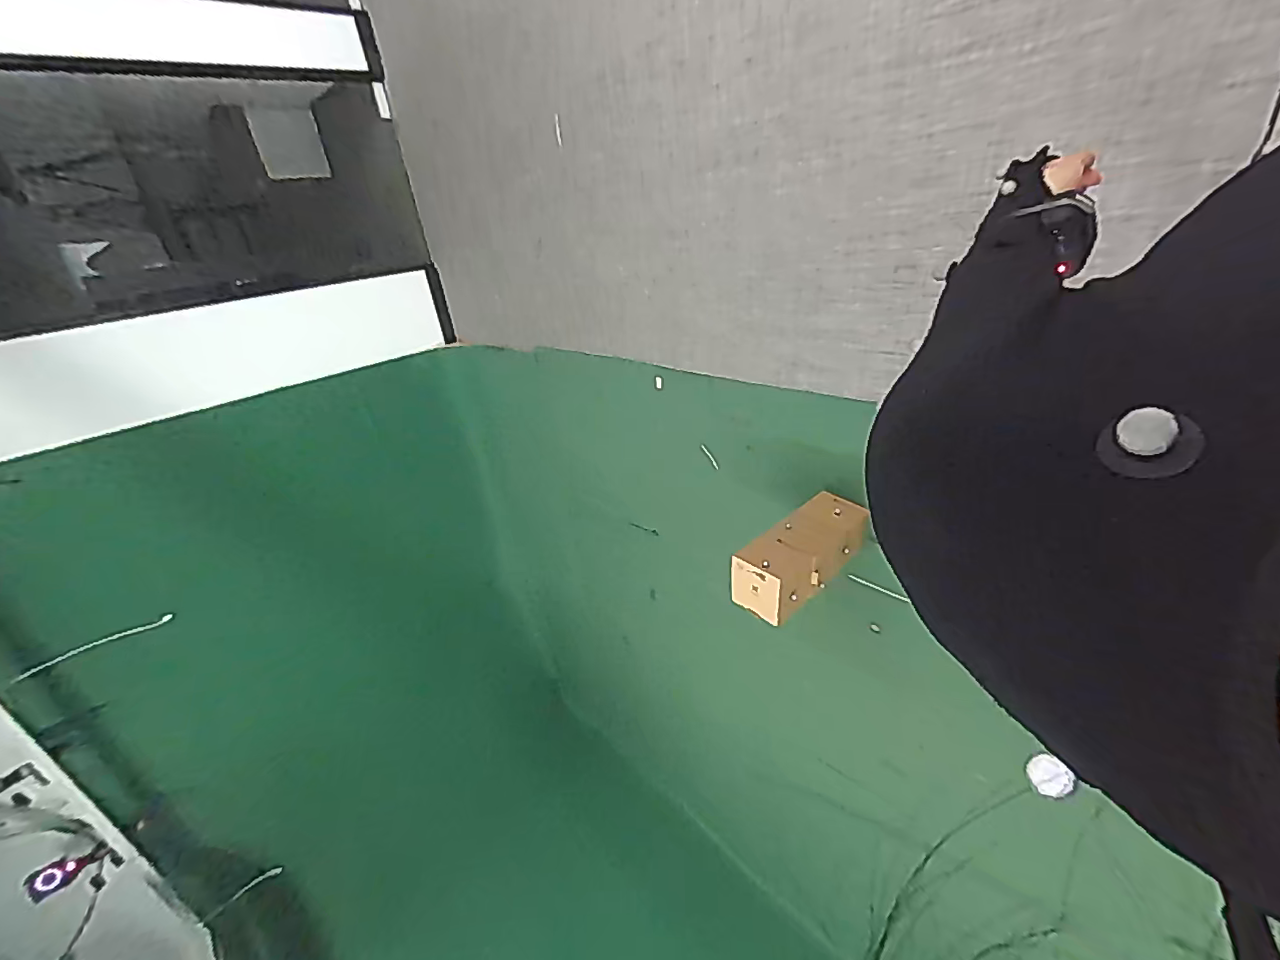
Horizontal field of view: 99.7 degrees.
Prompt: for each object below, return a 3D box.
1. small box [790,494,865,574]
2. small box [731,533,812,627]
[{"bbox_3d":[0.616,0.170,1.776,0.168,0.176,0.179,29,132,38],"label":"small box"},{"bbox_3d":[0.382,0.286,1.576,0.168,0.176,0.179,25,131,42],"label":"small box"}]
